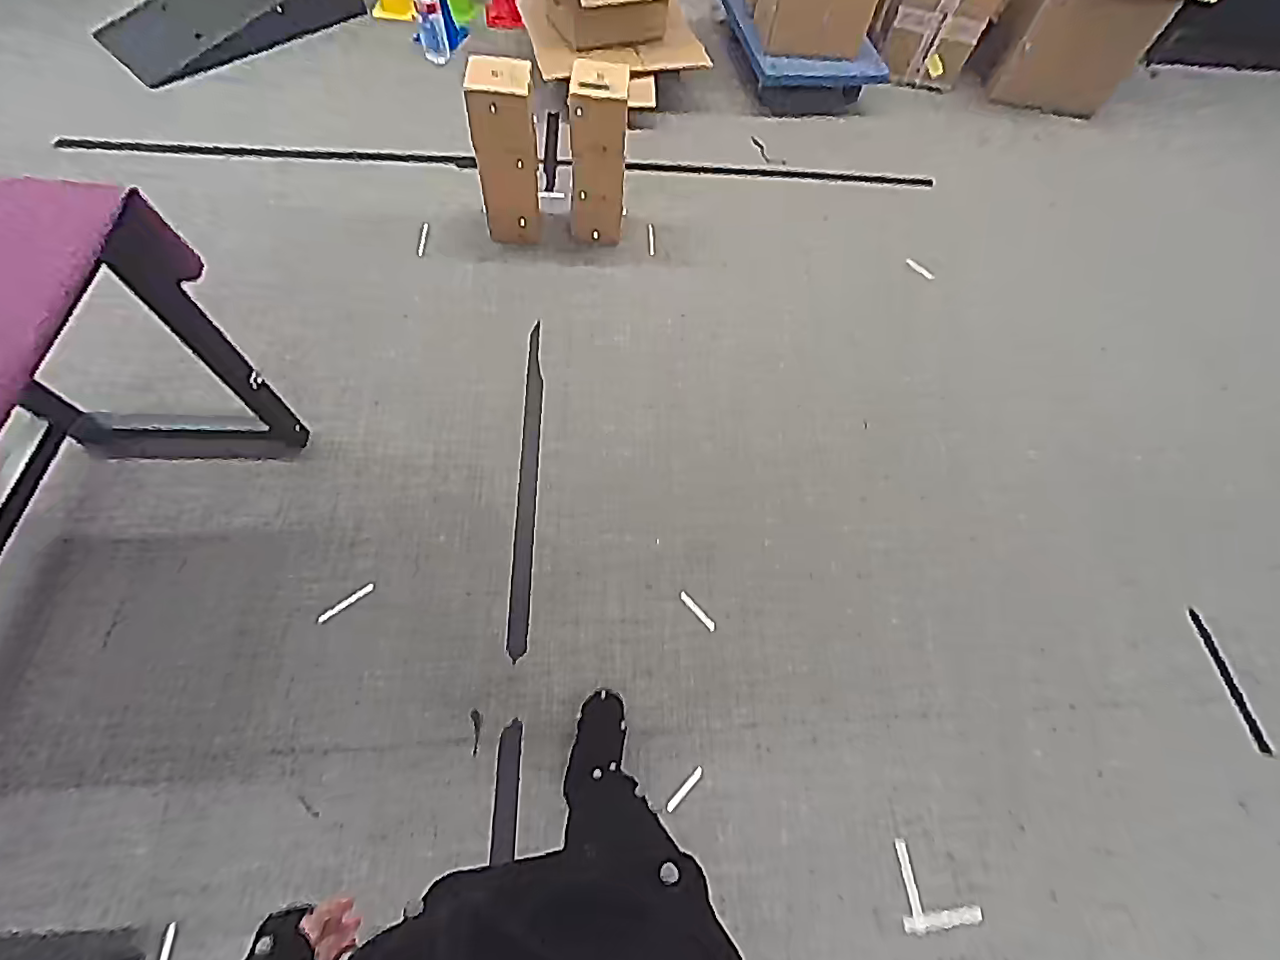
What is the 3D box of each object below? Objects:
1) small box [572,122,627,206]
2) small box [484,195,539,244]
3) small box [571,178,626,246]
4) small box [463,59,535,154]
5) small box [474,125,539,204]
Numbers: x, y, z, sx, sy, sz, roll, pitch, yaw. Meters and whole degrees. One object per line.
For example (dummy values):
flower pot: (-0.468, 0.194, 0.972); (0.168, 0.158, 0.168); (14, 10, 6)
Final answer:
small box: (-0.129, -1.021, 1.754); (0.168, 0.176, 0.179); (3, 62, -4)
small box: (-0.437, -0.943, 1.869); (0.168, 0.176, 0.179); (0, 62, -7)
small box: (-0.148, -0.953, 1.903); (0.179, 0.176, 0.168); (5, 63, -4)
small box: (-0.403, -1.083, 1.575); (0.179, 0.176, 0.168); (1, 64, -7)
small box: (-0.418, -1.009, 1.721); (0.179, 0.176, 0.168); (1, 63, -7)
